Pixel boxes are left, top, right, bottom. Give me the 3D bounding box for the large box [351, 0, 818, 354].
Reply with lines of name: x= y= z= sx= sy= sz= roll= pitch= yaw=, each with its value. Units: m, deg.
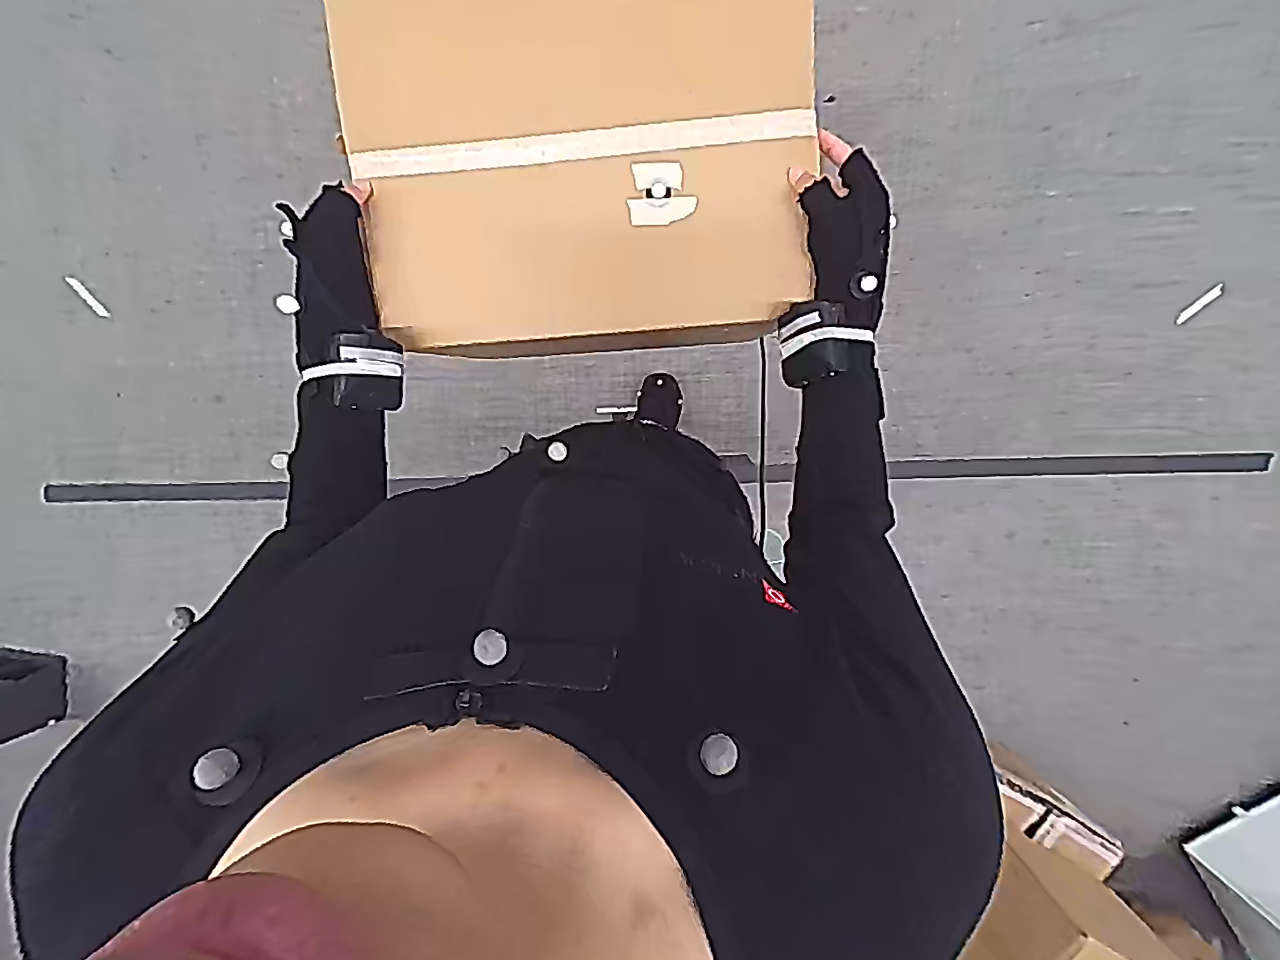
large box: x=-0.042 y=-0.328 z=0.633 sx=0.408 sy=0.320 sz=0.320 roll=-4 pitch=102 yaw=2
